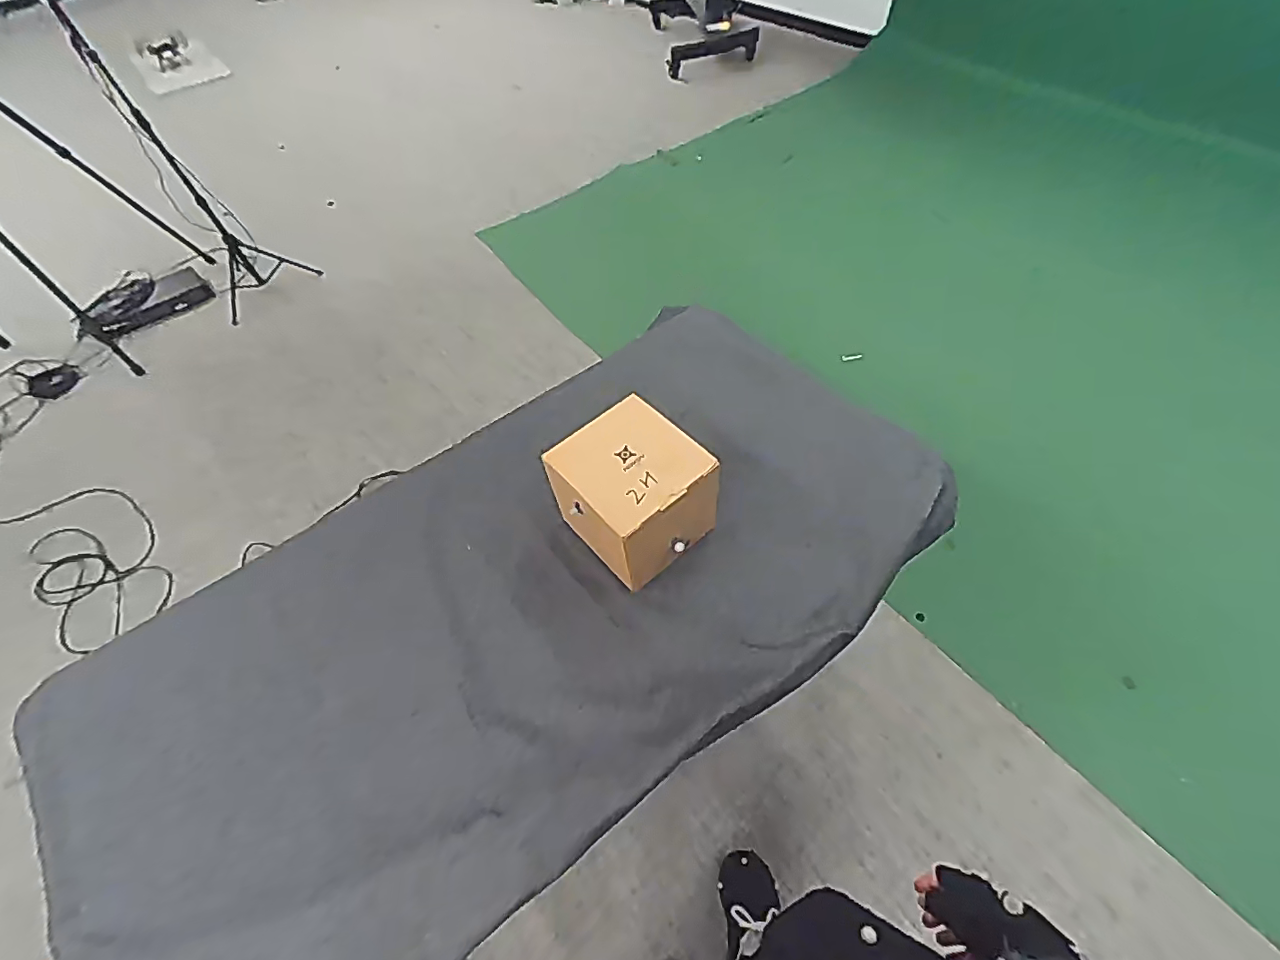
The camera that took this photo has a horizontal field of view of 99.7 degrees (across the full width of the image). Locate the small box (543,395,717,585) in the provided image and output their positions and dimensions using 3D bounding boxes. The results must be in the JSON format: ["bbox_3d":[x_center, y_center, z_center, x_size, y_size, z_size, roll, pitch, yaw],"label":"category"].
[{"bbox_3d":[-0.012,0.017,0.775,0.168,0.176,0.179,-37,60,-19],"label":"small box"}]
